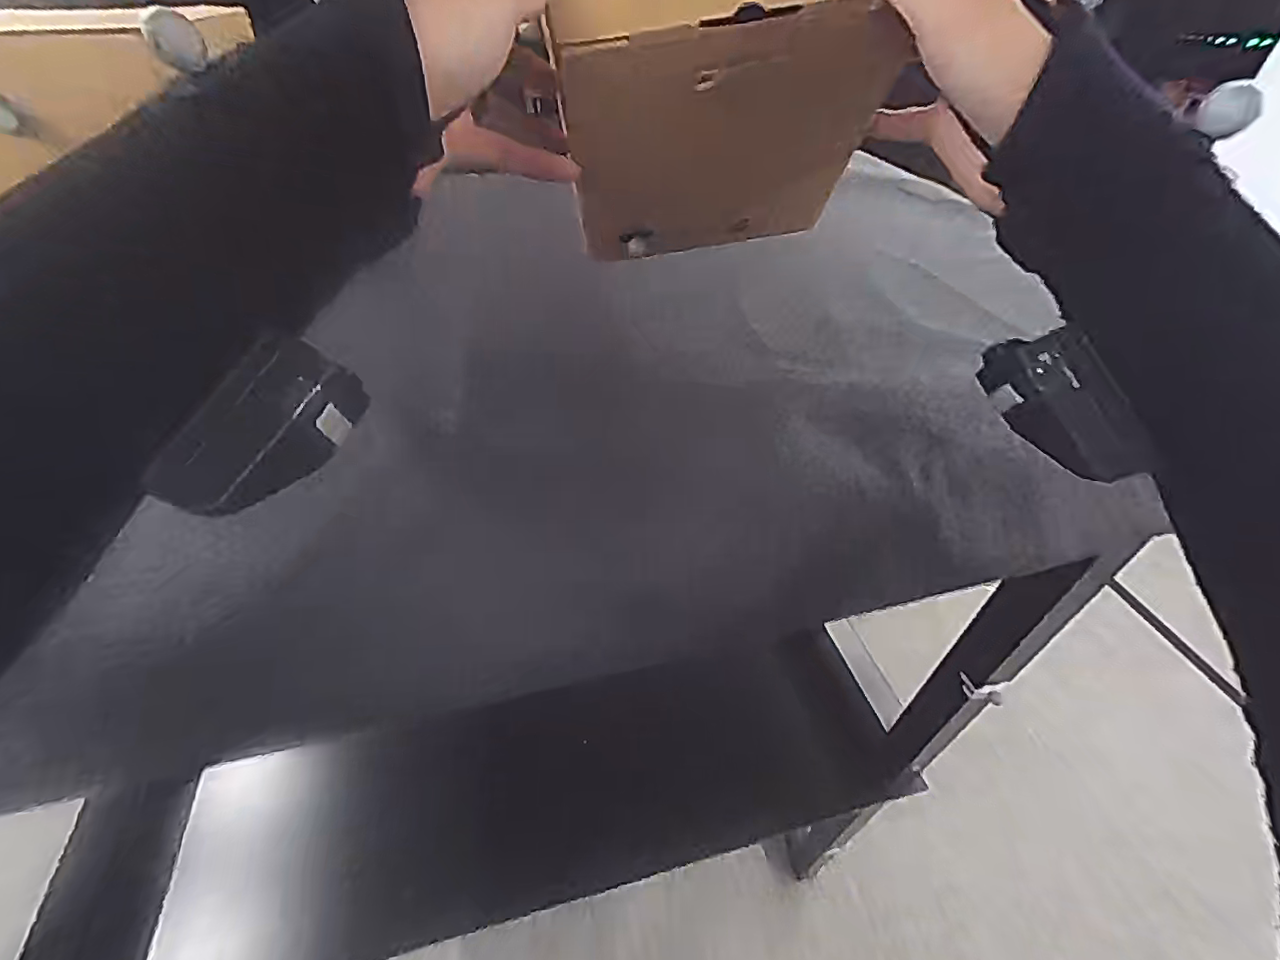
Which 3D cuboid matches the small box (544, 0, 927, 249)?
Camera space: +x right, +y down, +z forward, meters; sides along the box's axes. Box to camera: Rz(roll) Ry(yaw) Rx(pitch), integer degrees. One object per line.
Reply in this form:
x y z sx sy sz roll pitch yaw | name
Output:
0.031 -0.260 0.319 0.168 0.176 0.179 -10 80 -2 | small box

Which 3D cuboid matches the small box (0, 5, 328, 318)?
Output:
-0.371 -0.239 0.409 0.179 0.176 0.168 -7 45 -6 | small box
